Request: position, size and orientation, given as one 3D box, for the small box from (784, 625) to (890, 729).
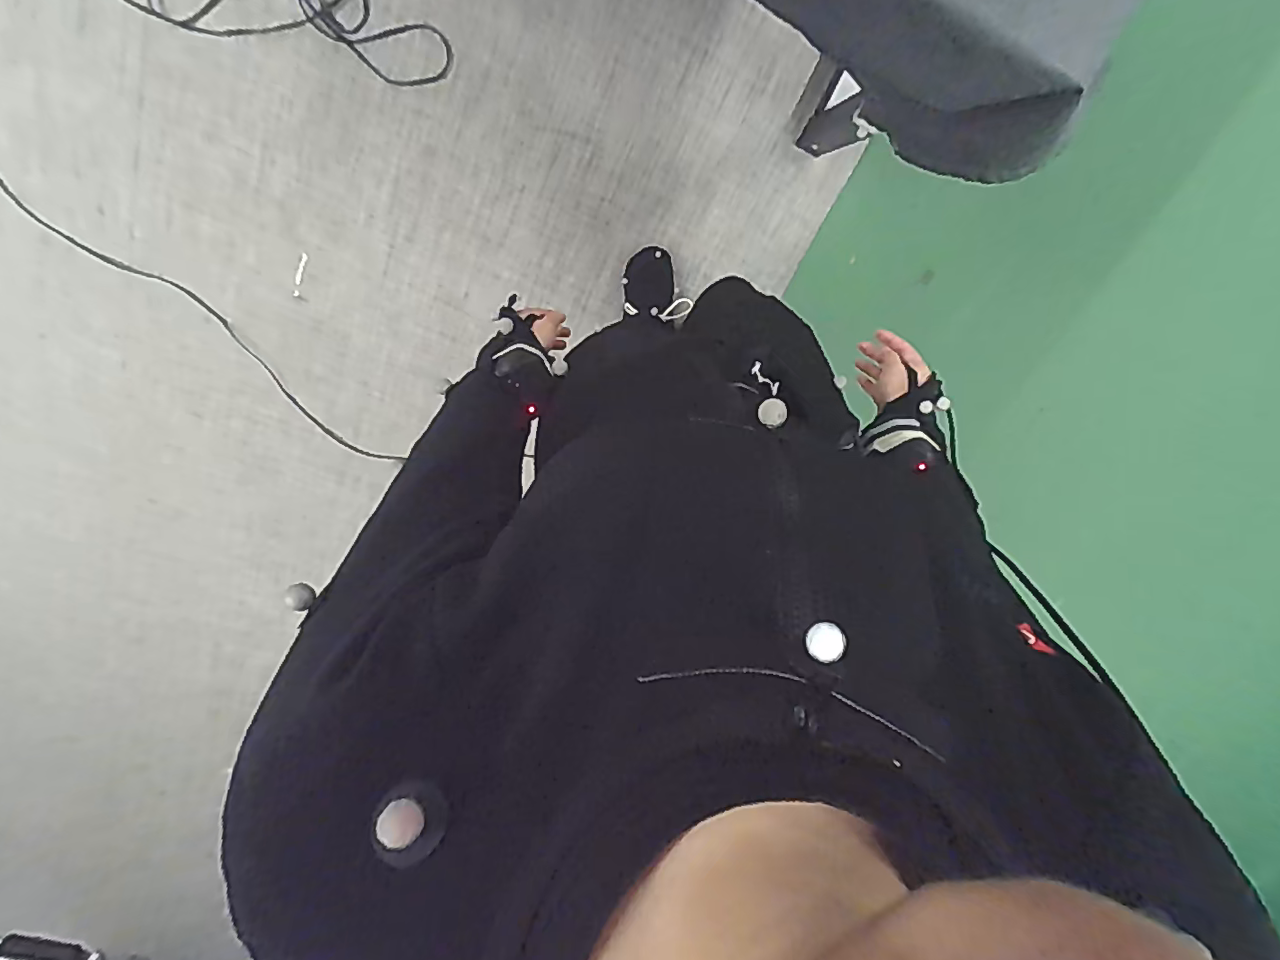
[{"bbox_3d":[0.500,0.506,1.408,0.179,0.176,0.168,20,112,-11],"label":"small box"}]
